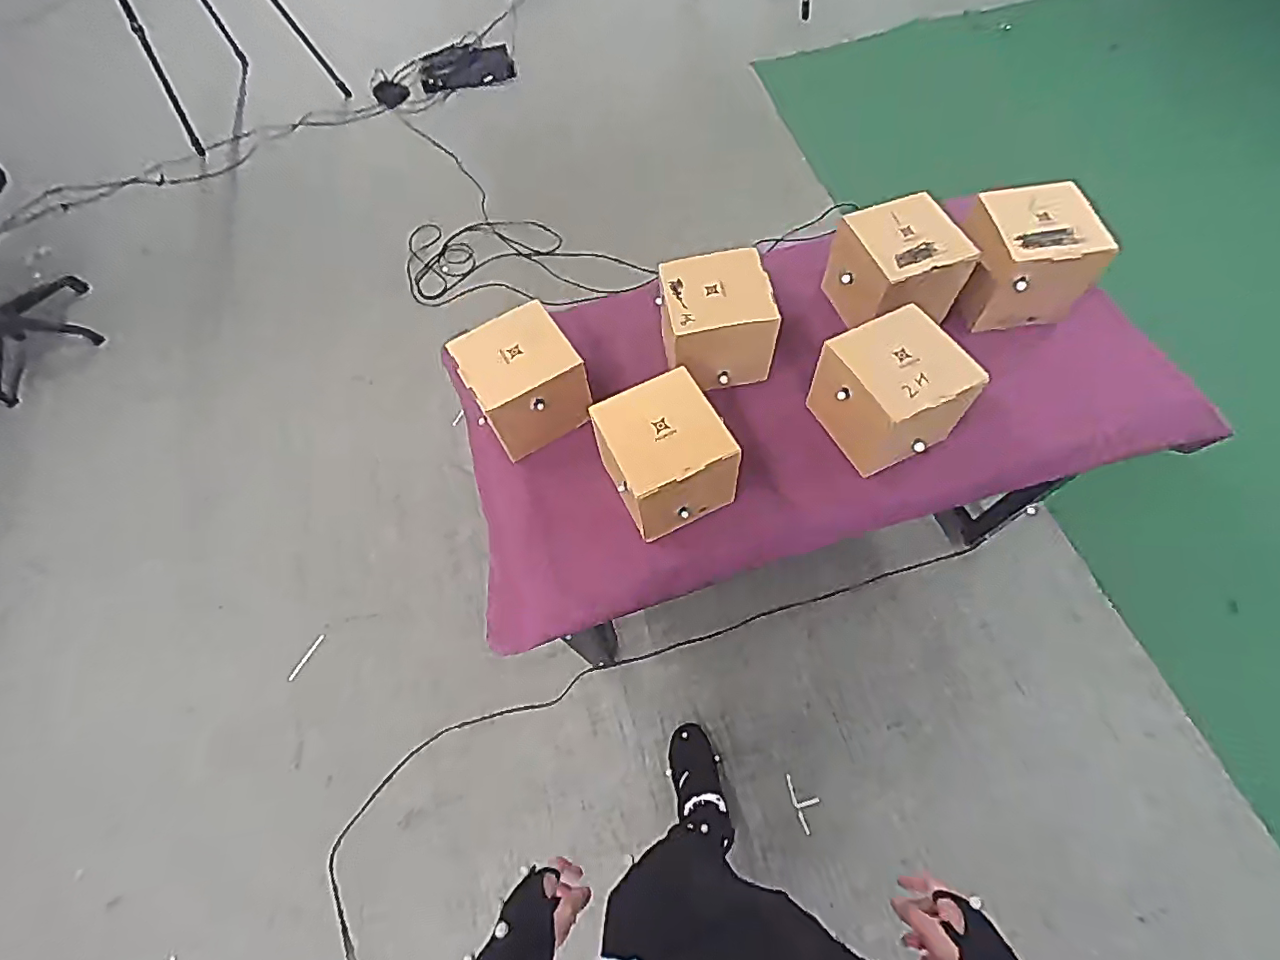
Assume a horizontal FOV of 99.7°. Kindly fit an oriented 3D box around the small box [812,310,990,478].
[{"bbox_3d":[0.403,-0.133,0.875,0.168,0.176,0.179,-24,63,-6],"label":"small box"}]

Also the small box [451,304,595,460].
[{"bbox_3d":[-0.195,-0.164,0.944,0.179,0.176,0.168,-29,66,-10],"label":"small box"}]

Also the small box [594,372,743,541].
[{"bbox_3d":[0.042,-0.033,0.858,0.168,0.176,0.179,-25,63,-8],"label":"small box"}]
